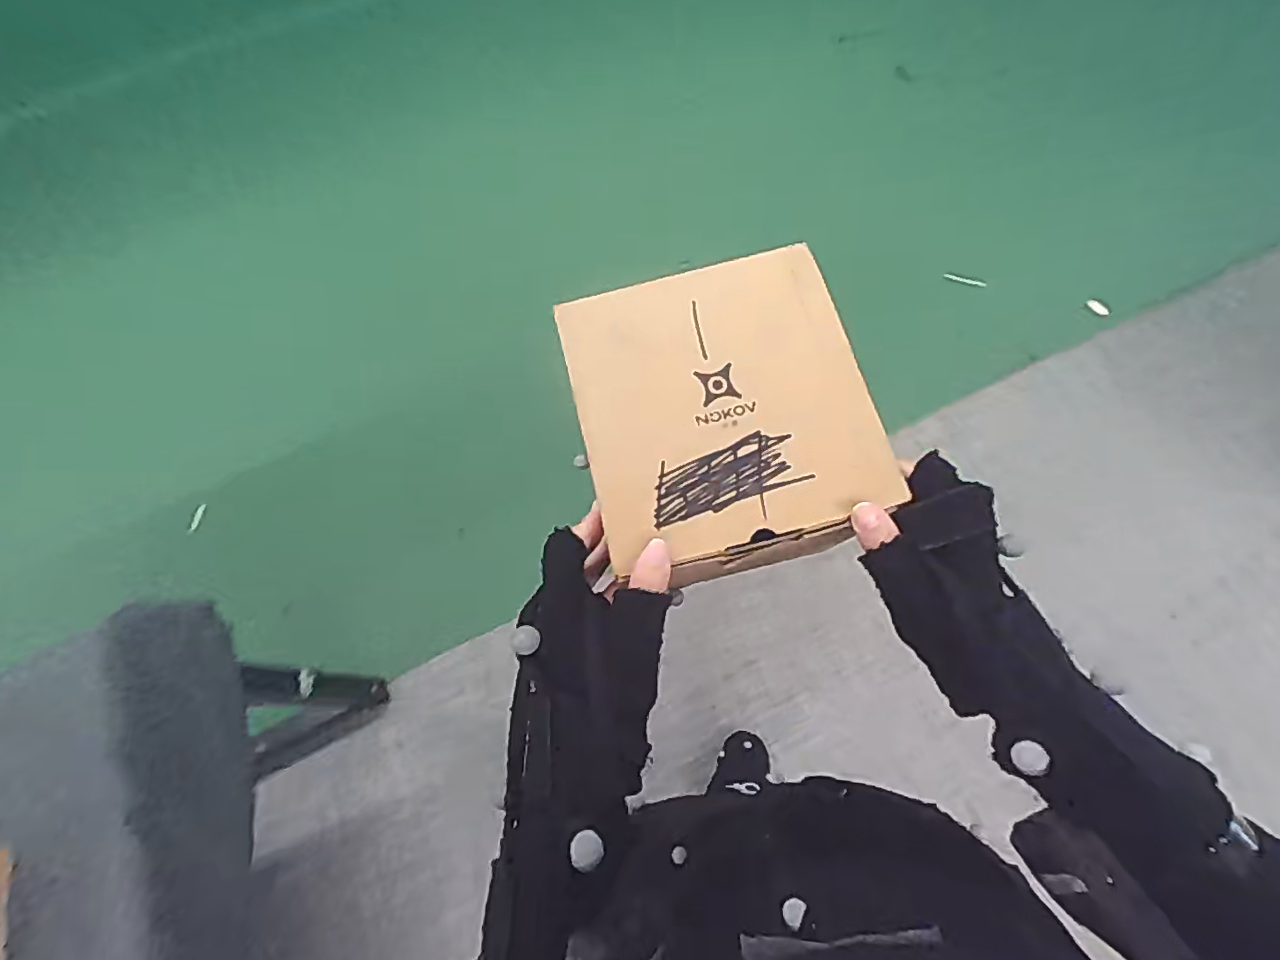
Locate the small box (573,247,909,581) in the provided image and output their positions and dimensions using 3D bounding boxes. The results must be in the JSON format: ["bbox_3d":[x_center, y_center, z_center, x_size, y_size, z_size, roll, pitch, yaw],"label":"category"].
[{"bbox_3d":[0.058,-0.028,0.395,0.168,0.176,0.179,-12,73,0],"label":"small box"}]
